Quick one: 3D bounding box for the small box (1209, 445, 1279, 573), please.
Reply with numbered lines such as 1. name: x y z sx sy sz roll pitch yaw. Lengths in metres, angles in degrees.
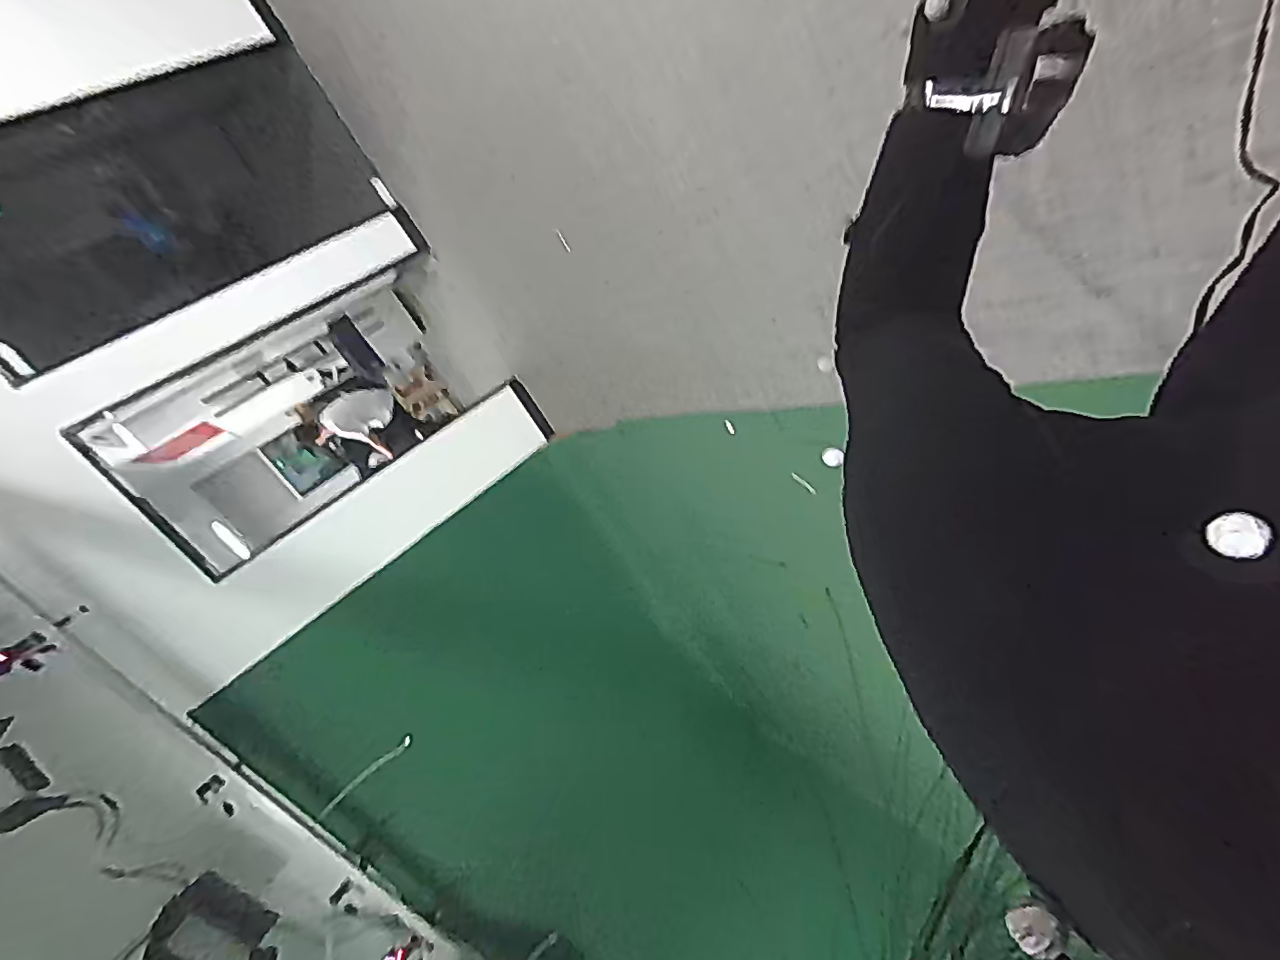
1. small box: 1.173 0.052 0.947 0.168 0.176 0.179 34 152 31
